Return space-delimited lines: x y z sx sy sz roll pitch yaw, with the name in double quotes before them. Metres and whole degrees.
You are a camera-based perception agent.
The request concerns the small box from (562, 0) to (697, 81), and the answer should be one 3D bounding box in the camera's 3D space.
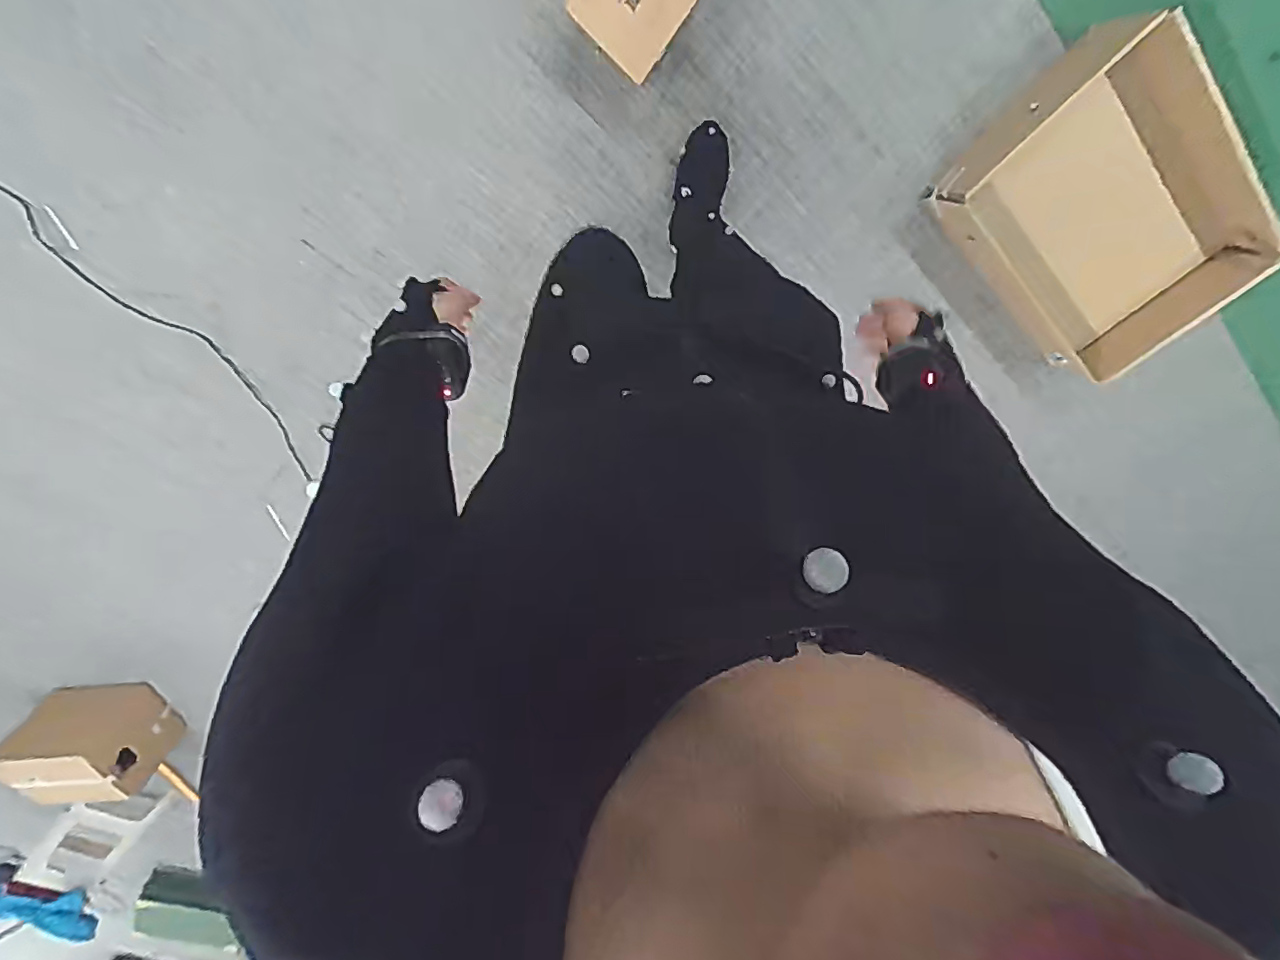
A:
"small box" -0.016 -0.853 0.968 0.179 0.176 0.168 33 119 -22
